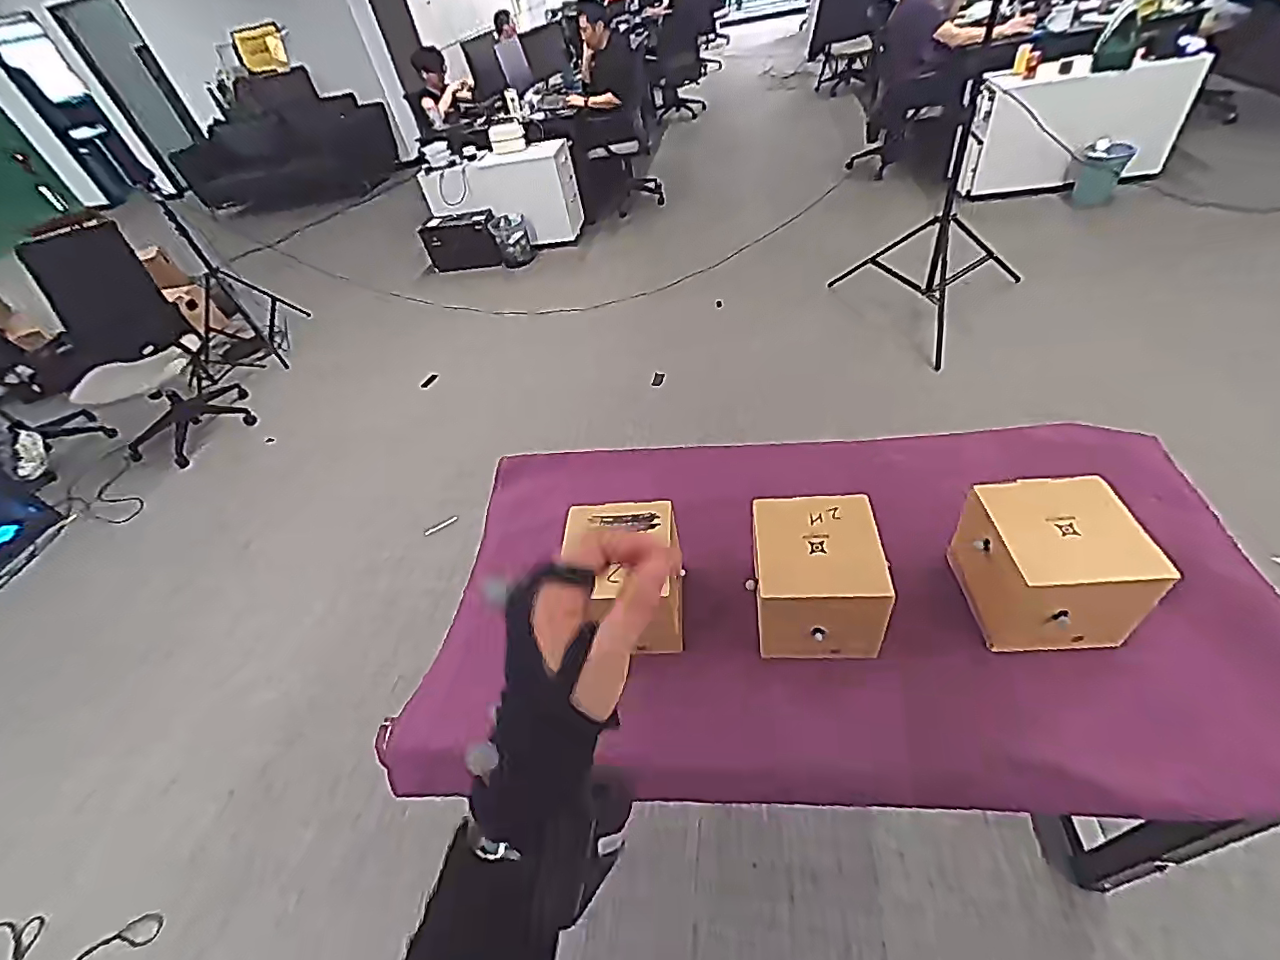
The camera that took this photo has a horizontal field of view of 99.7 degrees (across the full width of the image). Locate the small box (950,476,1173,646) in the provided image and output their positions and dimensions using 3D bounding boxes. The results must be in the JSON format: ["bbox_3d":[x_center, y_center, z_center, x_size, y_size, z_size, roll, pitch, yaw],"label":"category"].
[{"bbox_3d":[0.564,0.120,0.757,0.168,0.176,0.179,-5,43,9],"label":"small box"}]

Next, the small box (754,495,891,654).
[{"bbox_3d":[0.258,0.143,0.803,0.168,0.176,0.179,-2,45,10],"label":"small box"}]
